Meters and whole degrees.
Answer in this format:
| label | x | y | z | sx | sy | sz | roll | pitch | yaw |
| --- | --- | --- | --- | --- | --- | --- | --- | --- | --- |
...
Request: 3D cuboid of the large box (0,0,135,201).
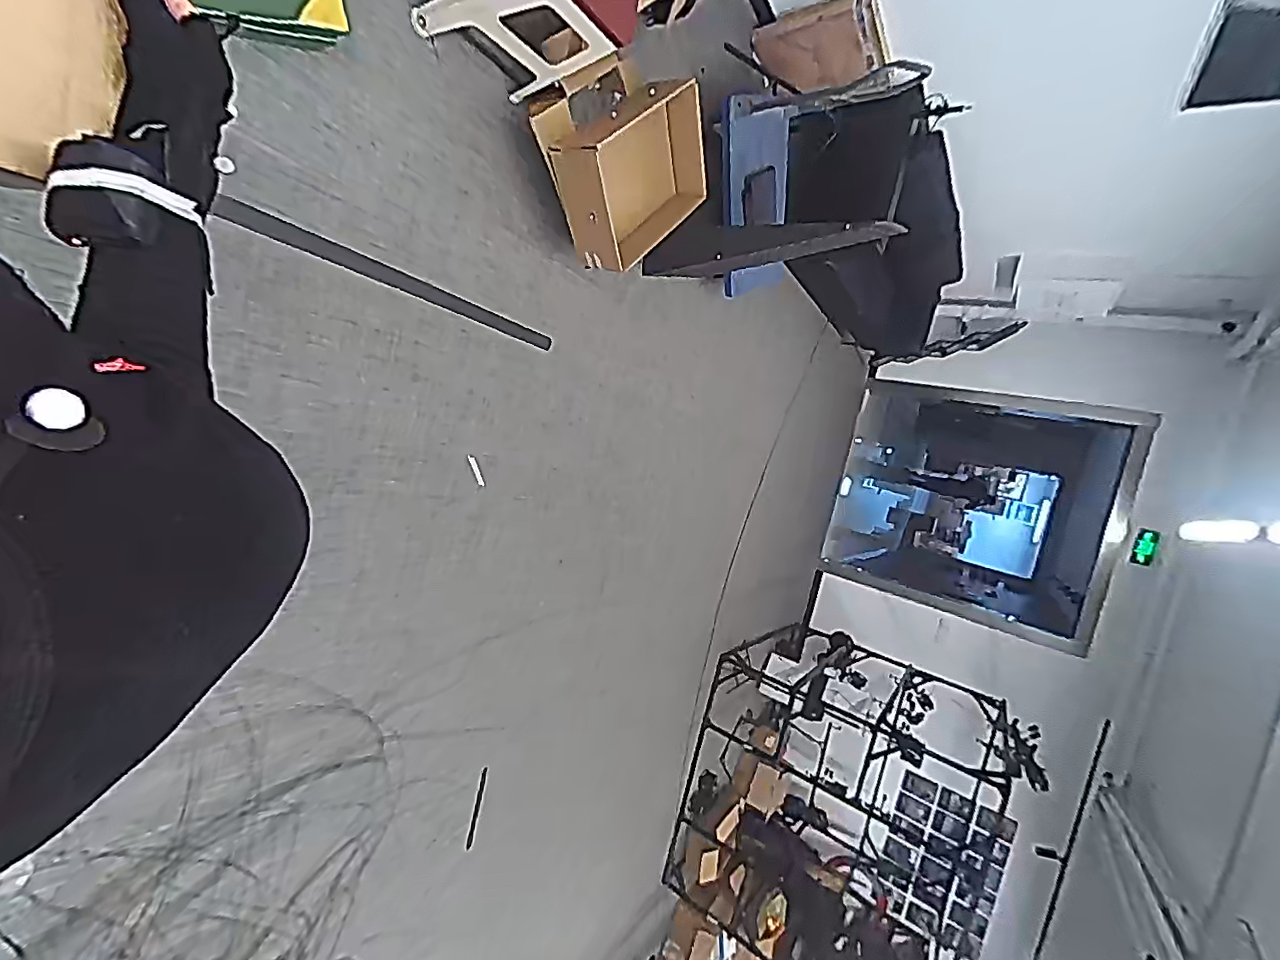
| label | x | y | z | sx | sy | sz | roll | pitch | yaw |
| --- | --- | --- | --- | --- | --- | --- | --- | --- | --- |
| large box | -0.610 | -0.406 | 0.311 | 0.408 | 0.320 | 0.320 | -3 | 111 | -61 |
